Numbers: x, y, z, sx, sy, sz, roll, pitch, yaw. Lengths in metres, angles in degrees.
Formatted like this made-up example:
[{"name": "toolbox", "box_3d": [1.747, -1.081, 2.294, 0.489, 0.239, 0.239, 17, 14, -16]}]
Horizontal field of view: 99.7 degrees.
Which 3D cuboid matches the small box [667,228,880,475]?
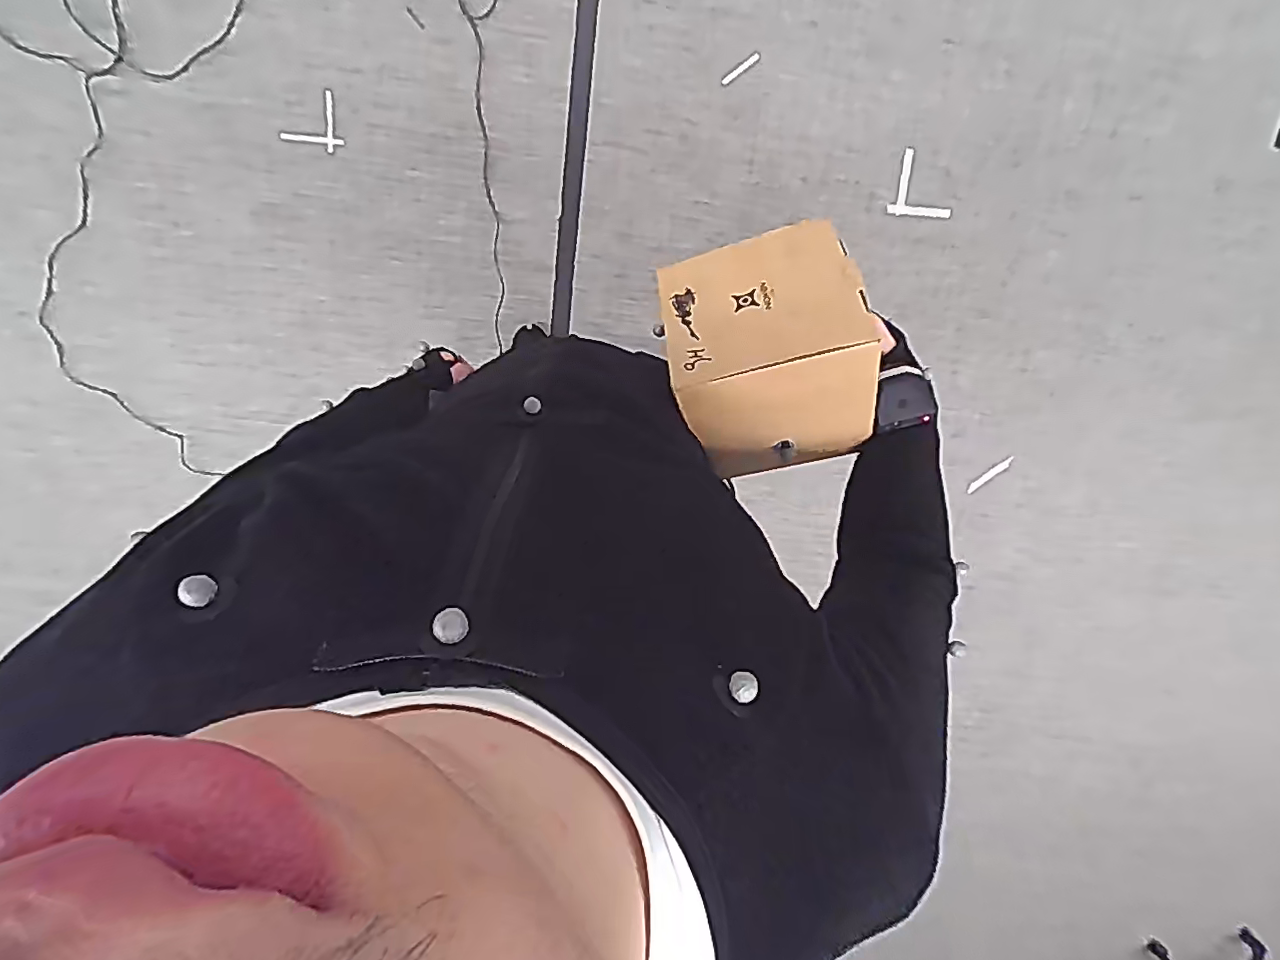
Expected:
[{"name": "small box", "box_3d": [0.137, -0.126, 0.578, 0.179, 0.168, 0.176, -12, 146, 13]}]
